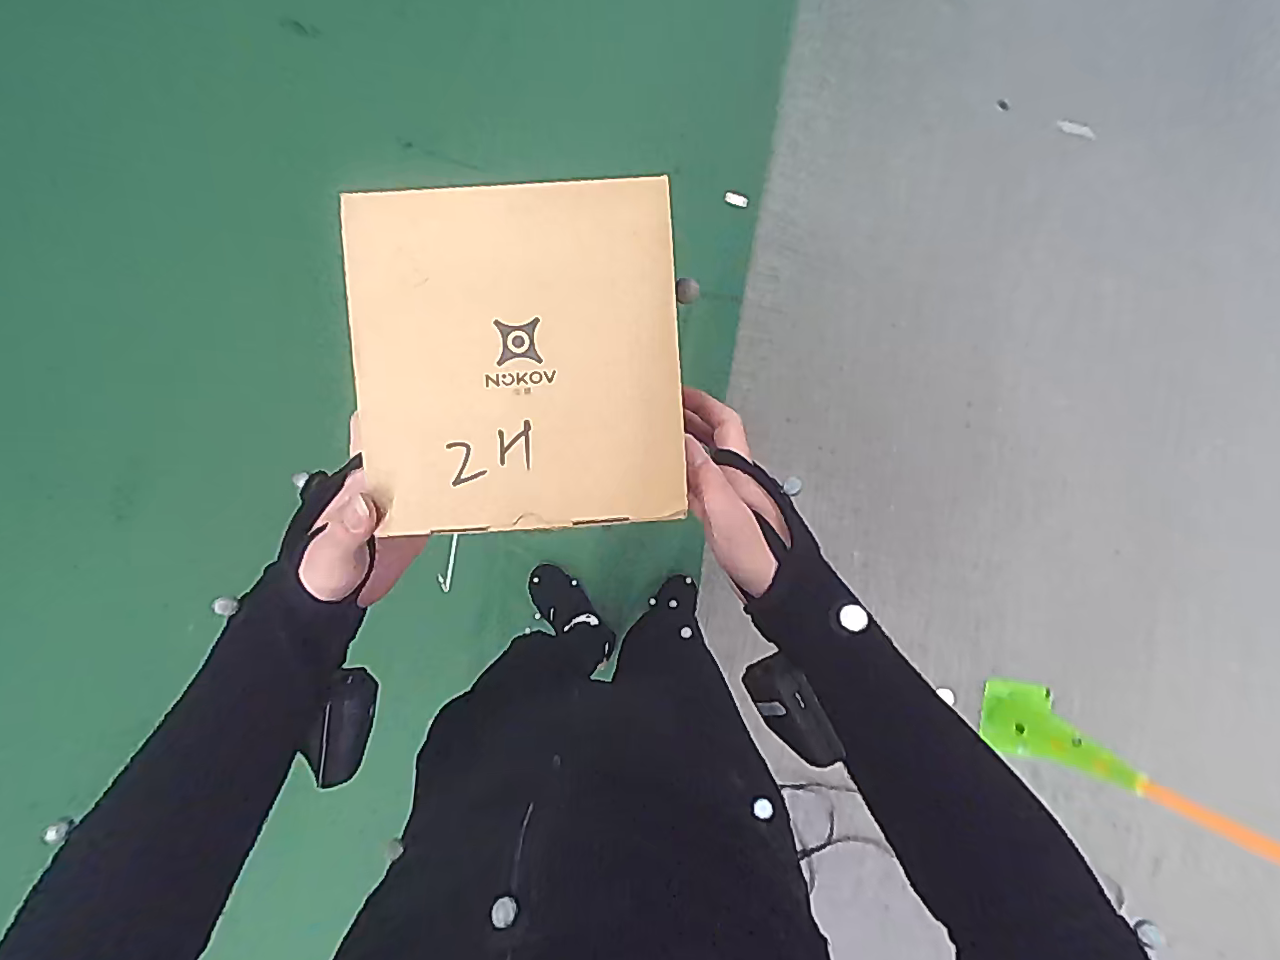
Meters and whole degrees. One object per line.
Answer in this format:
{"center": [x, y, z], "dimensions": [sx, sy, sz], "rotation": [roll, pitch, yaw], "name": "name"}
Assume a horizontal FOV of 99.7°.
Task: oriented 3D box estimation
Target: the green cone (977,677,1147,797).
{"center": [1.055, 0.656, 1.337], "dimensions": [0.200, 0.368, 0.202], "rotation": [9, 89, -4], "name": "green cone"}
